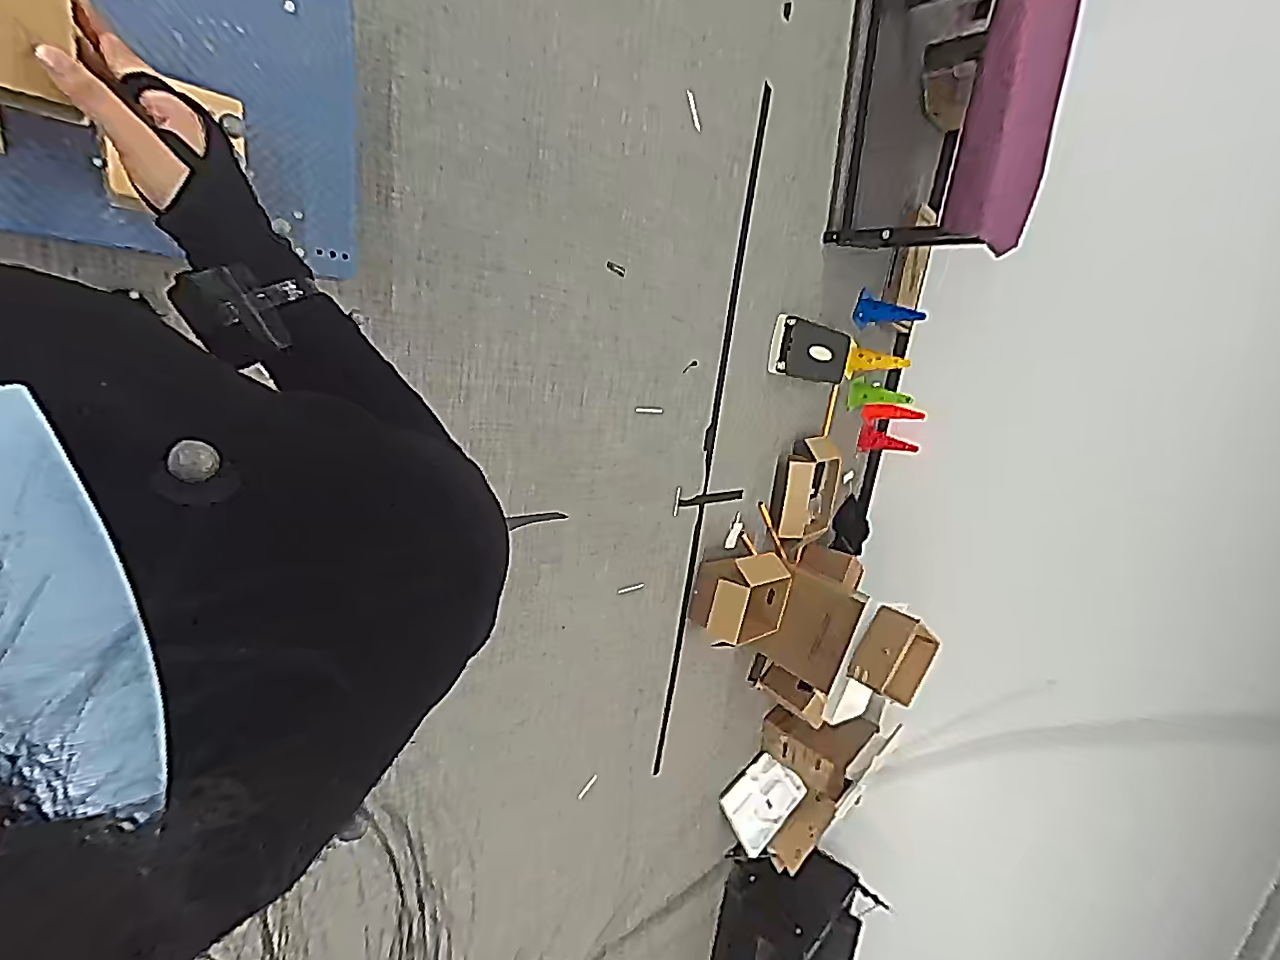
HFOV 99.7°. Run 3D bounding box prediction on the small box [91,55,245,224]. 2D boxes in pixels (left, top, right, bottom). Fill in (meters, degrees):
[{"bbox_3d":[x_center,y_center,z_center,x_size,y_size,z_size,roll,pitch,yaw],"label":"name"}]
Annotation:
[{"bbox_3d":[-0.755,-0.526,0.868,0.168,0.176,0.179,-8,110,-45],"label":"small box"}]
